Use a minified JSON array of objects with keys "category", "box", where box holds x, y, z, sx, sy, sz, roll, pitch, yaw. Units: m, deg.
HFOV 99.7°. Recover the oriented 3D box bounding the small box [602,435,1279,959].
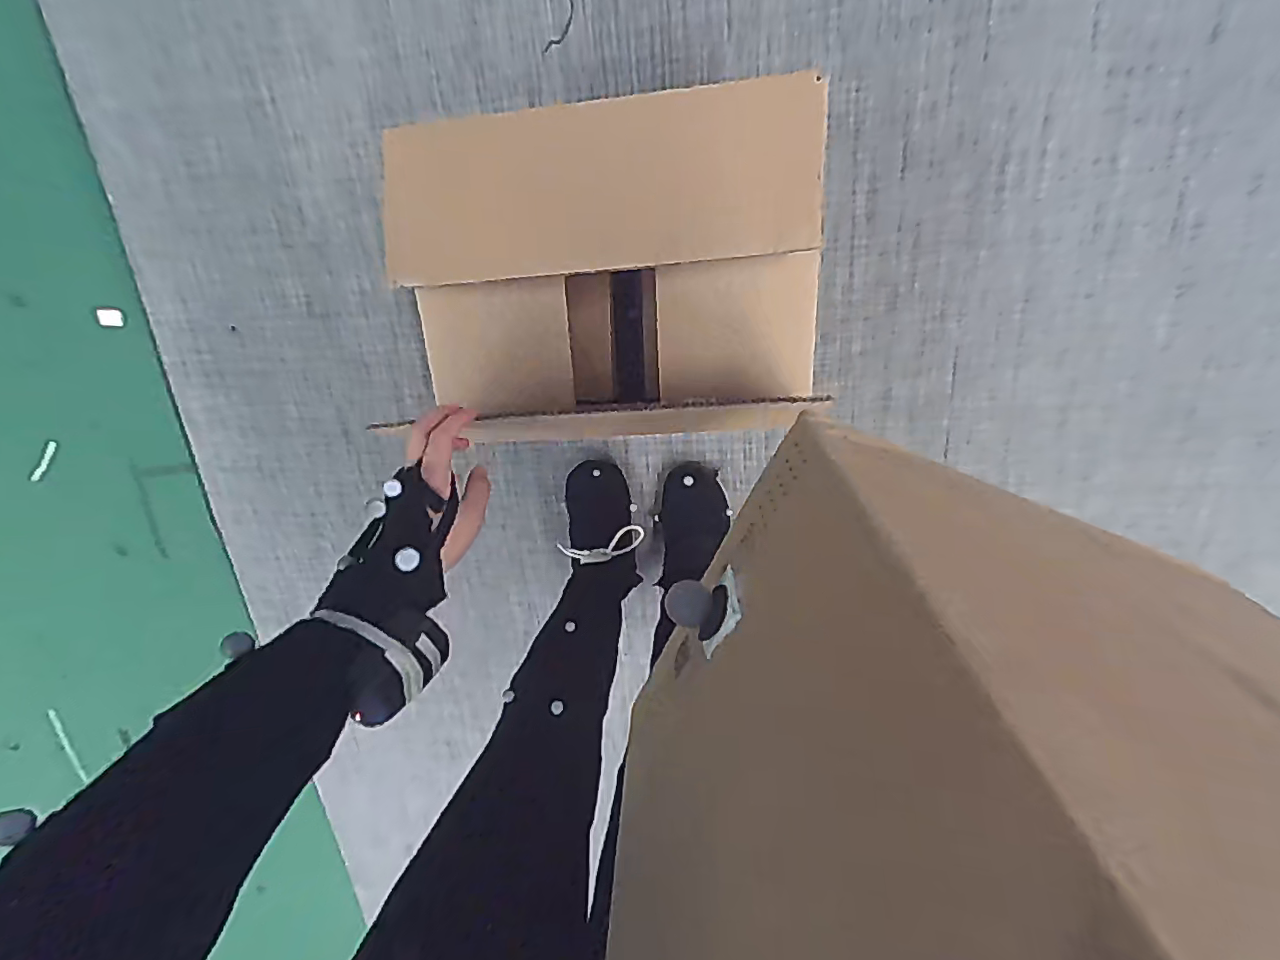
[{"category":"small box","box":[0.098,0.104,0.169,0.179,0.176,0.168,21,114,-5]}]
